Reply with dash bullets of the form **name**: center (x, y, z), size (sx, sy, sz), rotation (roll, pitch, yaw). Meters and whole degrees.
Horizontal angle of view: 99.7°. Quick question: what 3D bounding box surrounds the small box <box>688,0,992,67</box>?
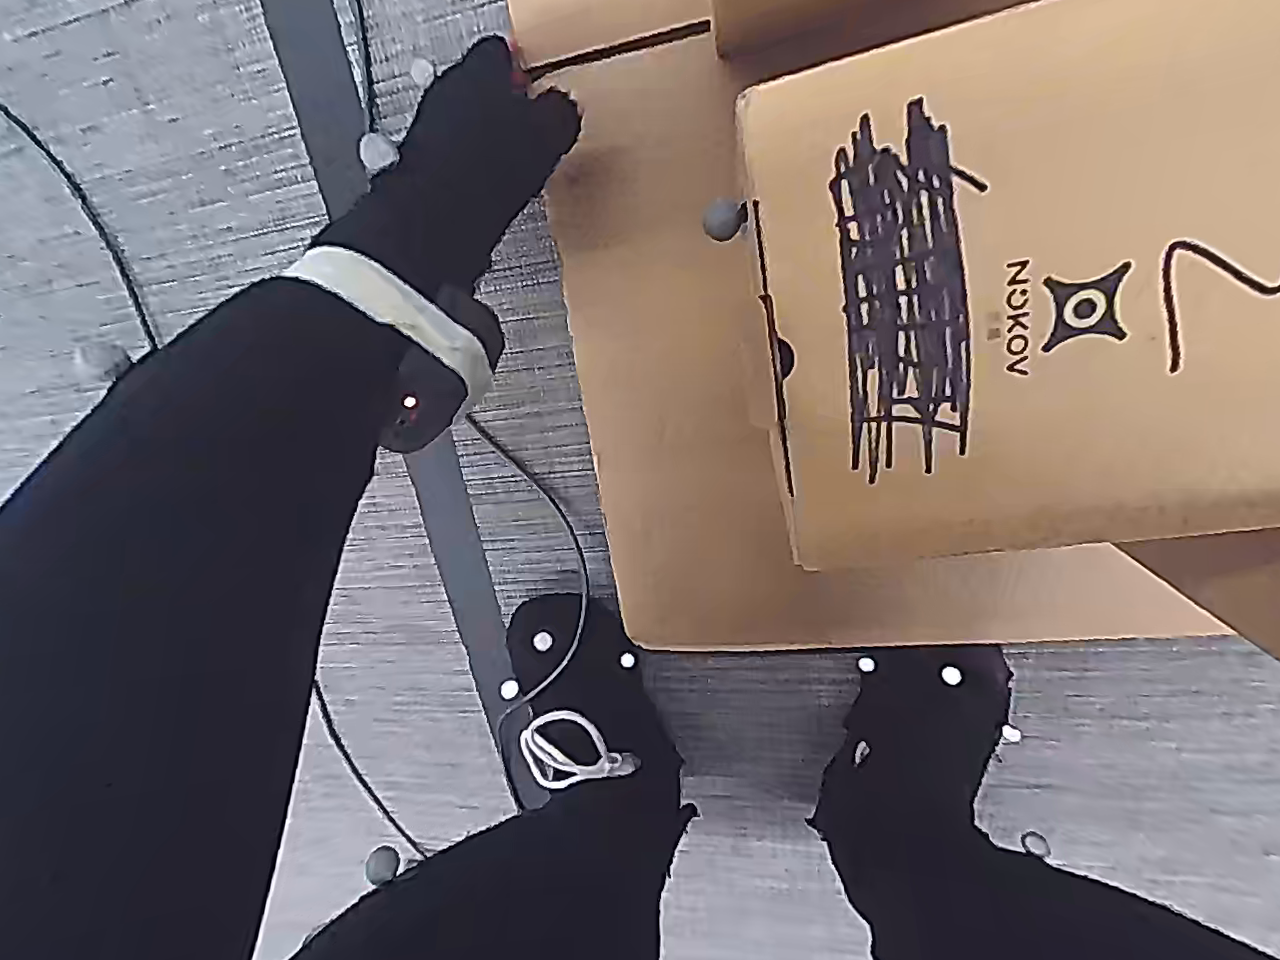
- **small box**: center (0.094, -0.279, 0.185), size (0.179, 0.176, 0.168), rotation (-5, 112, 13)
